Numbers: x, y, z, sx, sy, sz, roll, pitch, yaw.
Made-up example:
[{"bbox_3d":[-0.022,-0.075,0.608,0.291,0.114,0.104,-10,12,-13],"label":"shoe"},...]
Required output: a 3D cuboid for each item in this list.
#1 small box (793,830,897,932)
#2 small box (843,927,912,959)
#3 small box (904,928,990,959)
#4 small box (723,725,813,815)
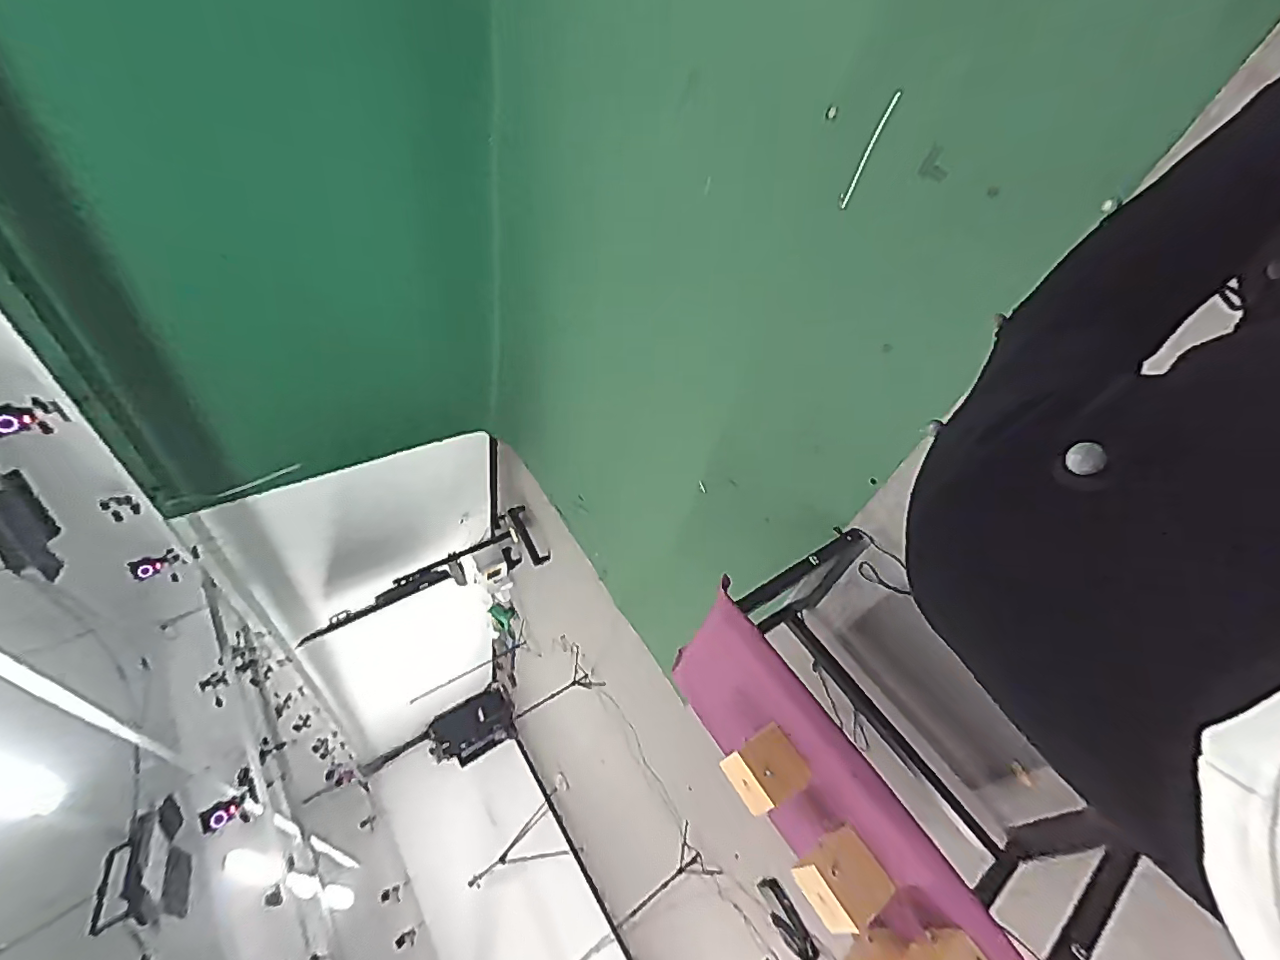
[{"bbox_3d":[0.573,1.118,1.517,0.179,0.176,0.168,51,147,26],"label":"small box"},{"bbox_3d":[0.695,1.402,1.509,0.179,0.176,0.168,52,146,27],"label":"small box"},{"bbox_3d":[0.752,1.217,1.292,0.168,0.176,0.179,49,147,28],"label":"small box"},{"bbox_3d":[0.392,0.883,1.661,0.179,0.176,0.168,51,146,25],"label":"small box"}]
